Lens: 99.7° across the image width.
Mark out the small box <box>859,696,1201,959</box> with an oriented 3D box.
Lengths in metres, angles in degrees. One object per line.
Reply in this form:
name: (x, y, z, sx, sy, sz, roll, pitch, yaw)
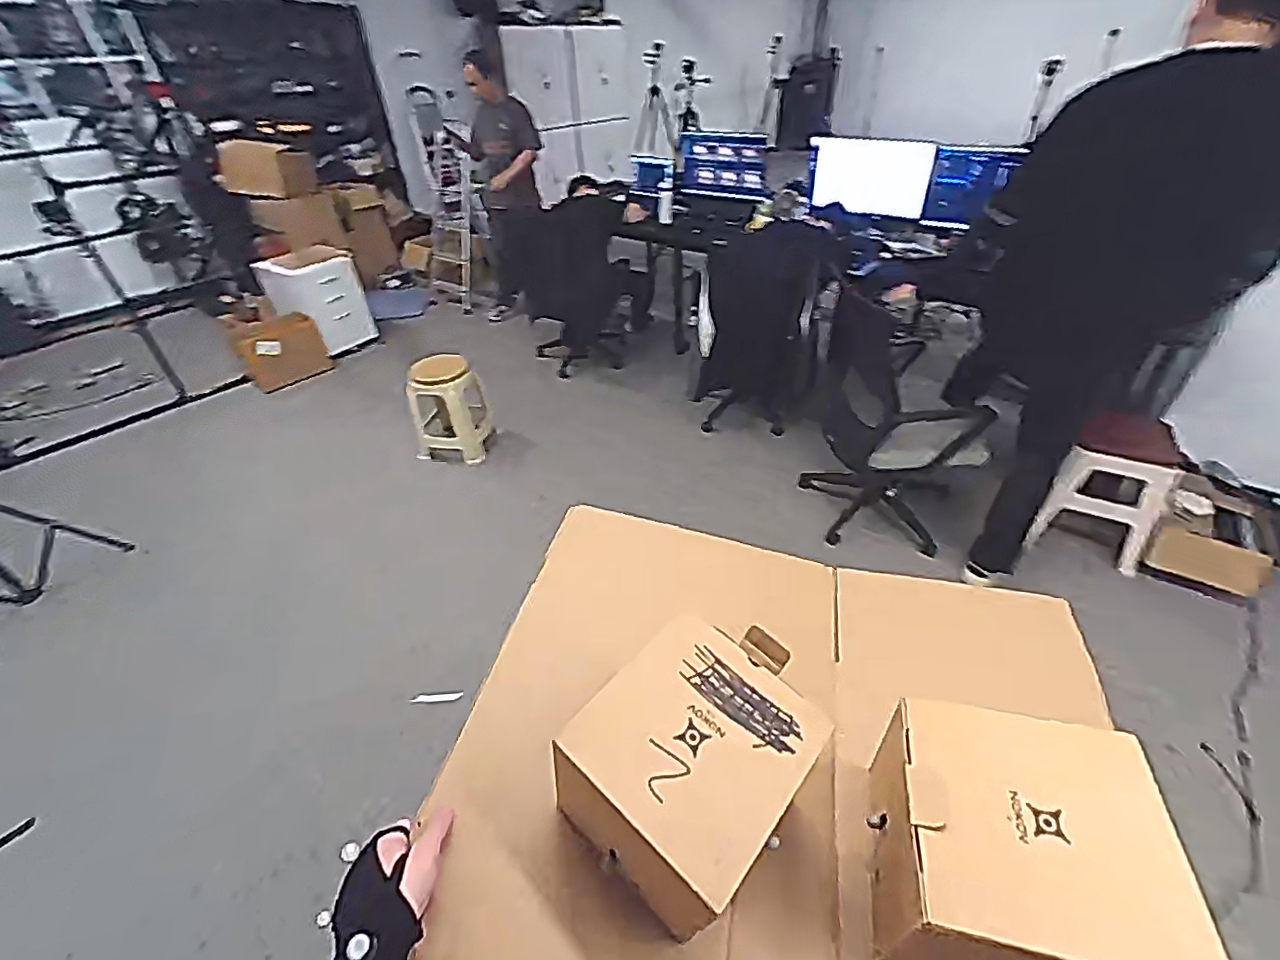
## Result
small box: (0.299, 0.317, 0.466, 0.179, 0.176, 0.168, 5, 42, 14)
